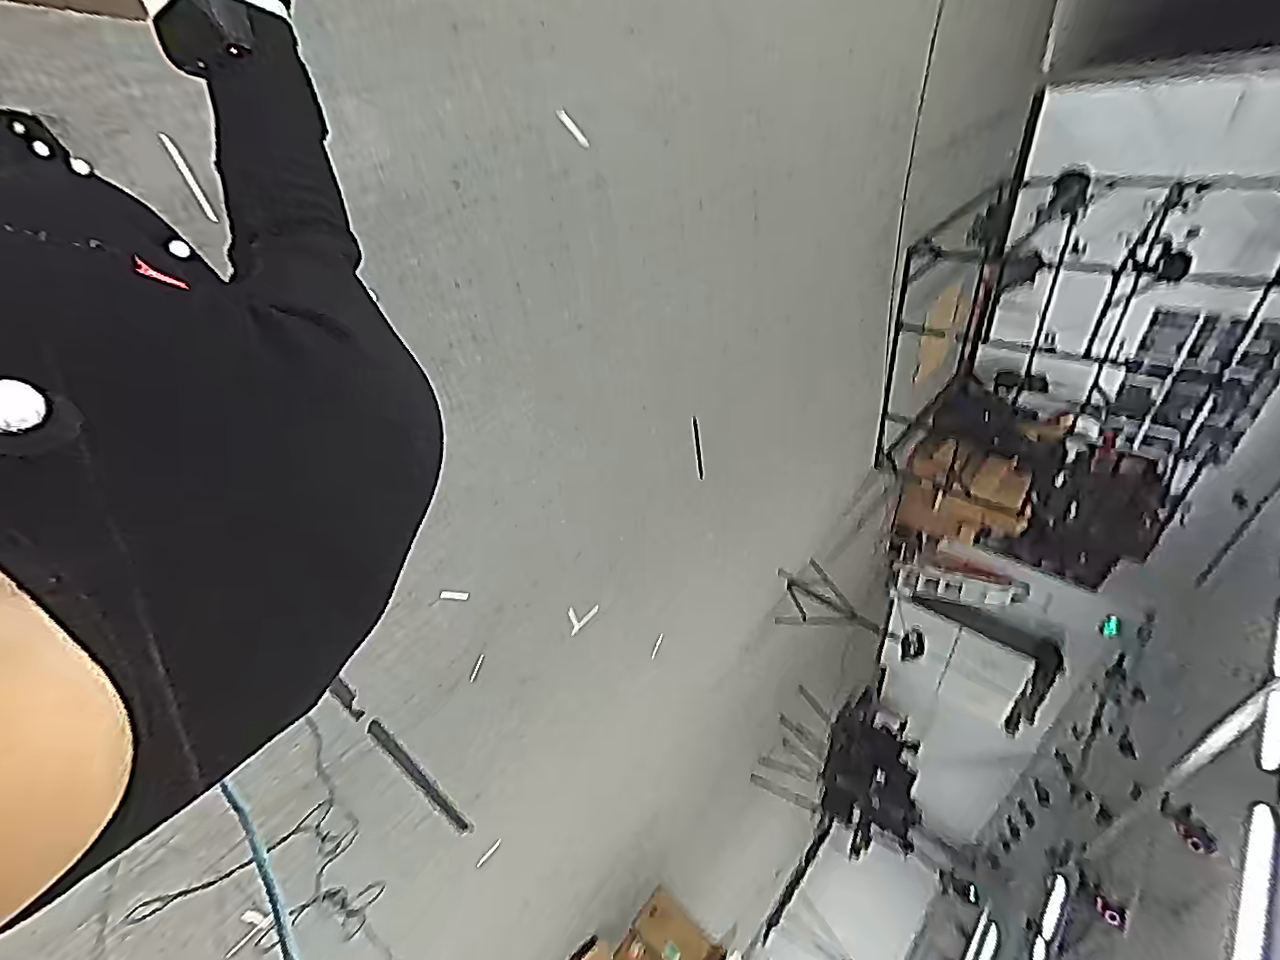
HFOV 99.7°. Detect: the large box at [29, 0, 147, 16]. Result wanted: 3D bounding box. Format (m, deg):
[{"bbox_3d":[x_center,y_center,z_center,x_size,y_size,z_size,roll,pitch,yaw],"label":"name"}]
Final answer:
[{"bbox_3d":[-0.543,-0.477,0.262,0.408,0.320,0.320,-24,131,-38],"label":"large box"}]
